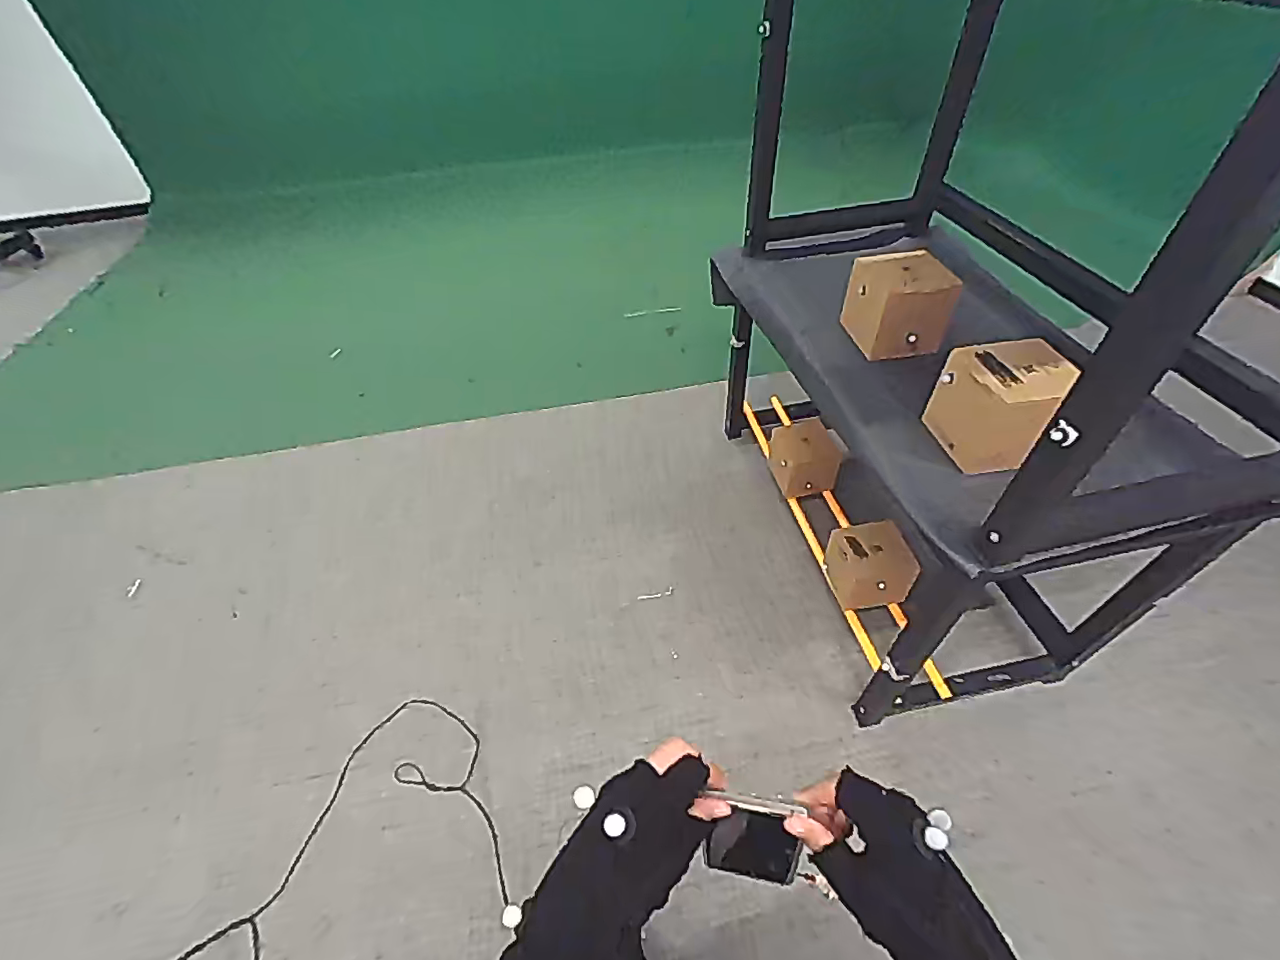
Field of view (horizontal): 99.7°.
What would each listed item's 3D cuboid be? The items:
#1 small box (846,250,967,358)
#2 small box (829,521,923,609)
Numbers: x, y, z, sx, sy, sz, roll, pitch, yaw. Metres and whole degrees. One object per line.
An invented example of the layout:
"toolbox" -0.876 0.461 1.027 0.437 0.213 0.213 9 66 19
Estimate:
"small box" 0.591 -0.400 1.230 0.168 0.176 0.179 -8 47 -3
"small box" 0.635 0.237 1.486 0.179 0.176 0.168 -8 47 -3
